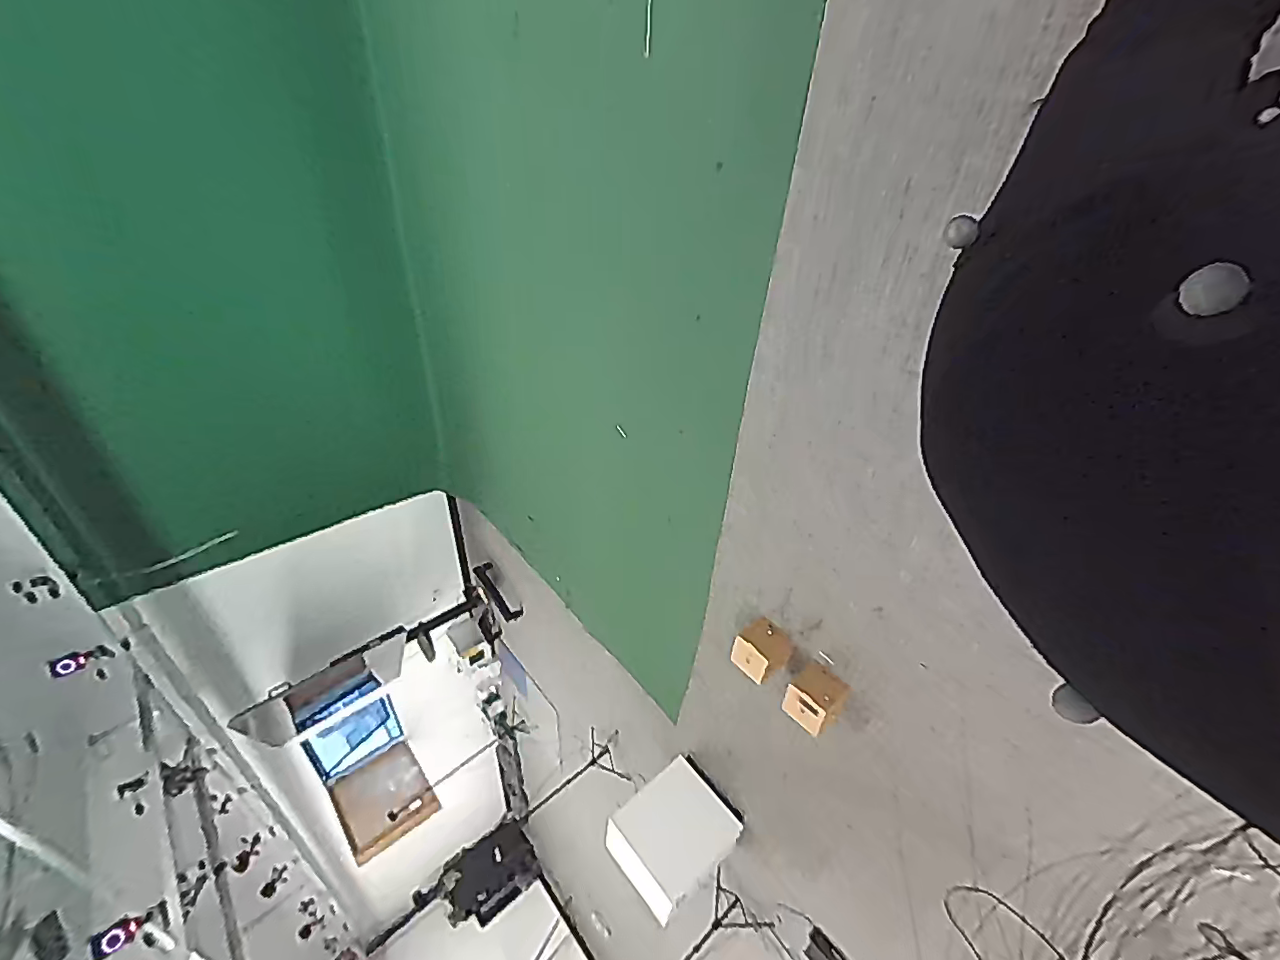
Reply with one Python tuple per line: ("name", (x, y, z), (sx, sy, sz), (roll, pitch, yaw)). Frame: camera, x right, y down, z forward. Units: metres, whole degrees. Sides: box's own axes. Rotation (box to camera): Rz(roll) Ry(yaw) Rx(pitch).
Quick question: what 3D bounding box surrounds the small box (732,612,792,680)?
("small box", (0.519, 0.700, 2.292), (0.168, 0.176, 0.179), (37, 136, 35))
